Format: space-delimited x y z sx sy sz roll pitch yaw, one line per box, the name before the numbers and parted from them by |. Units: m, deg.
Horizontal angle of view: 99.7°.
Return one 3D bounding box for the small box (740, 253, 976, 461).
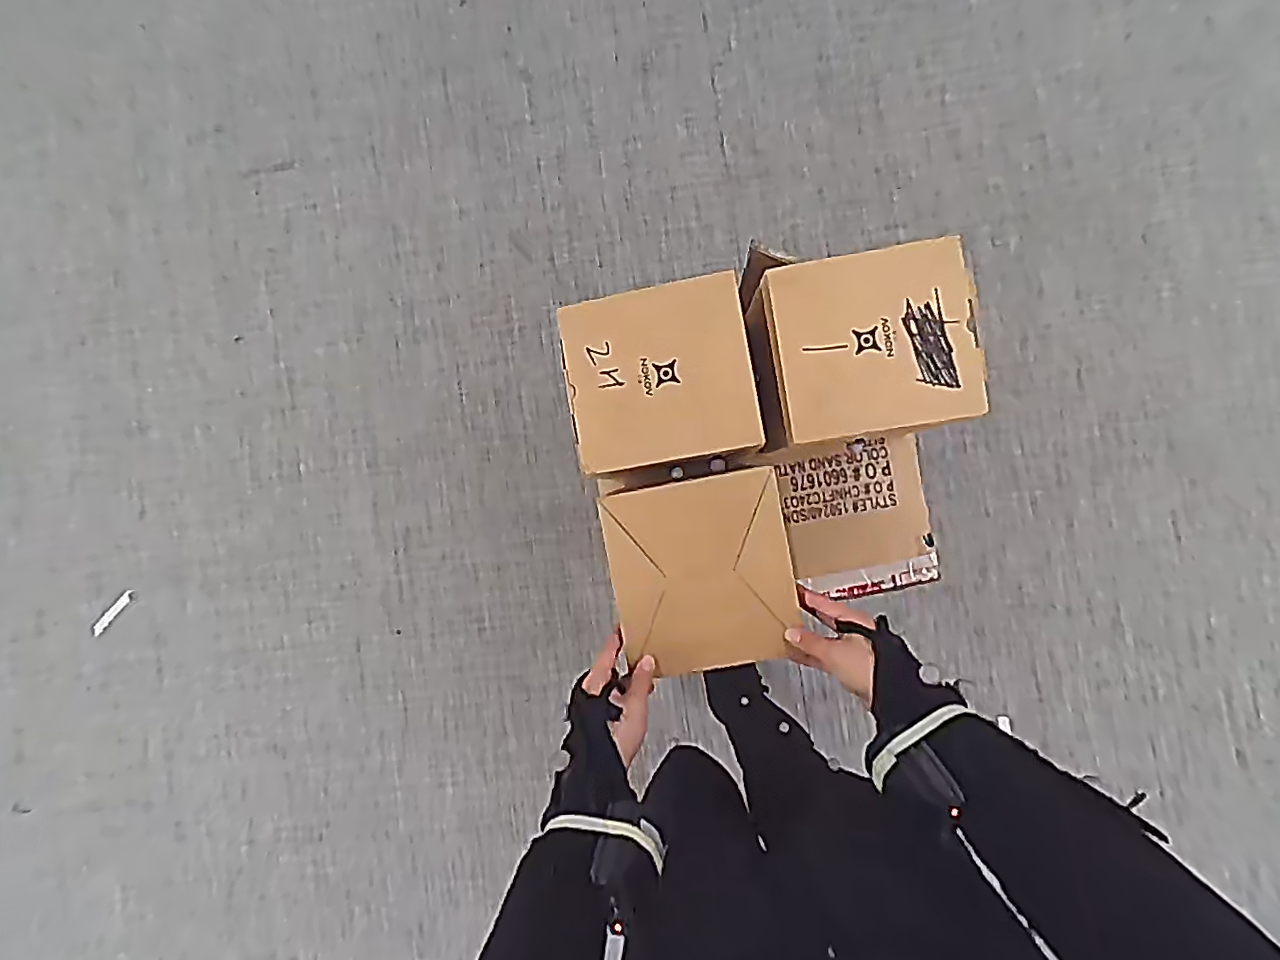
small box | 0.214 -0.115 0.576 0.179 0.176 0.168 -9 88 4
